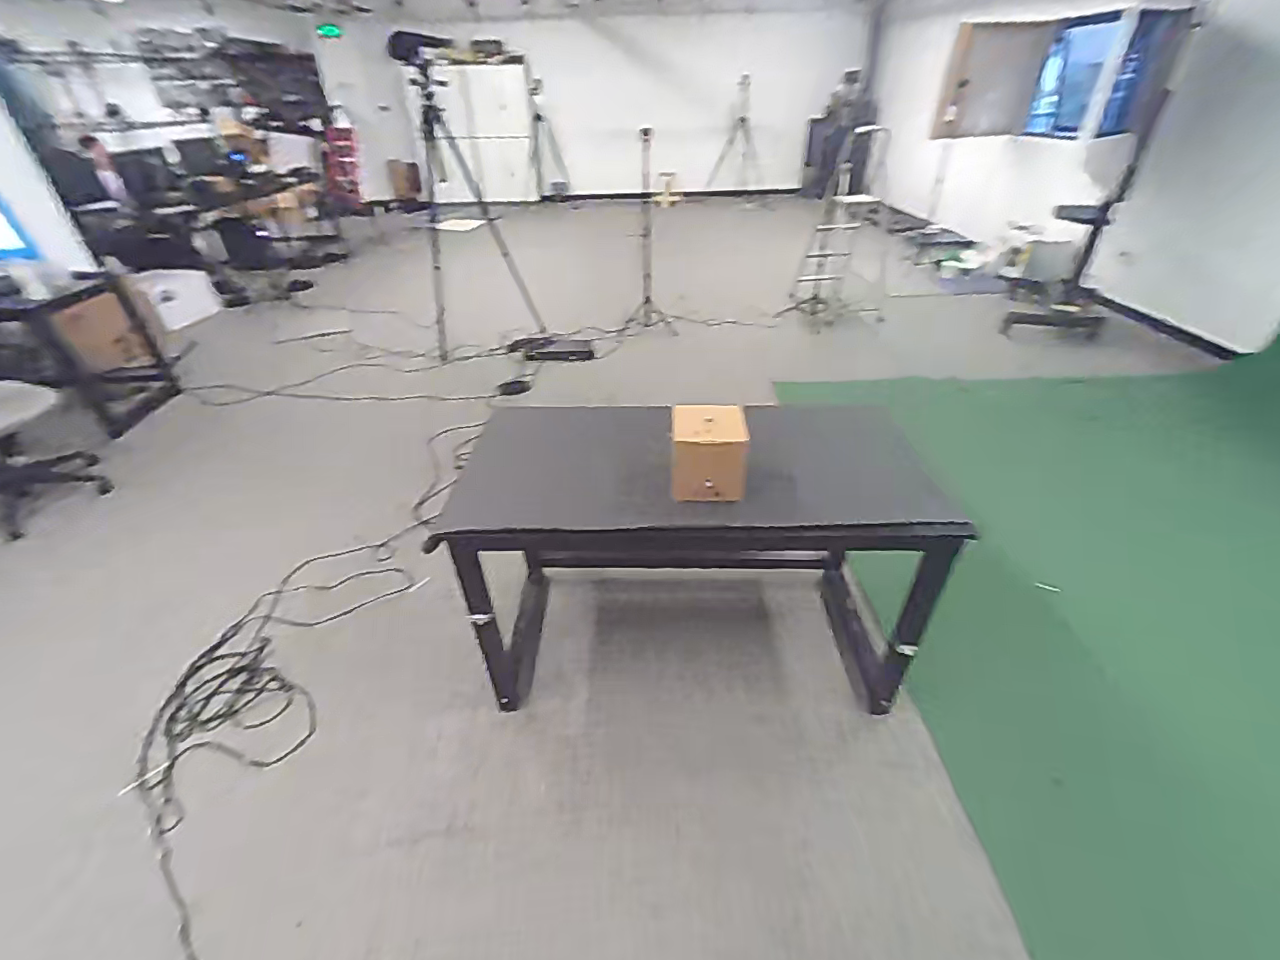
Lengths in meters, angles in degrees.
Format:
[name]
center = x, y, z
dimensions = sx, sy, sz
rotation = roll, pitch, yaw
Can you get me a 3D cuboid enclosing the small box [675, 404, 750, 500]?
[small box]
center = 0.169, -0.070, 1.307
dimensions = 0.168, 0.176, 0.179
rotation = 0, 35, 3
